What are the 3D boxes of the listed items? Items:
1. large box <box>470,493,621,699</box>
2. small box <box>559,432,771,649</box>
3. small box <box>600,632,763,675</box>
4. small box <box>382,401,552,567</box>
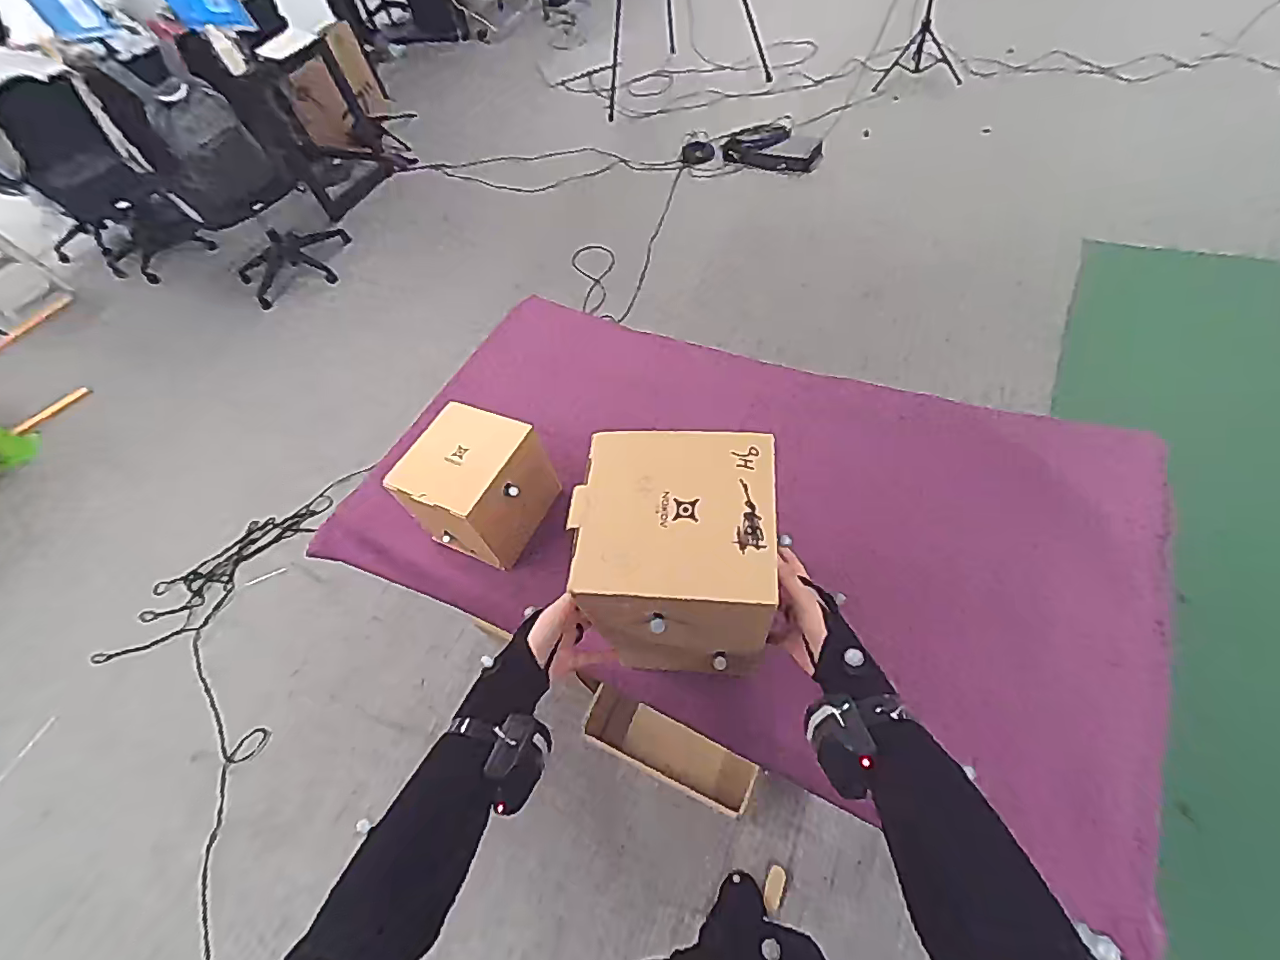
[{"bbox_3d":[-0.170,0.309,1.453,0.320,0.320,0.408,17,62,22],"label":"large box"},{"bbox_3d":[0.037,0.066,0.540,0.179,0.176,0.168,1,62,10],"label":"small box"},{"bbox_3d":[0.057,0.145,0.684,0.179,0.176,0.168,1,61,8],"label":"small box"},{"bbox_3d":[-0.259,0.008,0.863,0.168,0.176,0.179,18,61,22],"label":"small box"}]
